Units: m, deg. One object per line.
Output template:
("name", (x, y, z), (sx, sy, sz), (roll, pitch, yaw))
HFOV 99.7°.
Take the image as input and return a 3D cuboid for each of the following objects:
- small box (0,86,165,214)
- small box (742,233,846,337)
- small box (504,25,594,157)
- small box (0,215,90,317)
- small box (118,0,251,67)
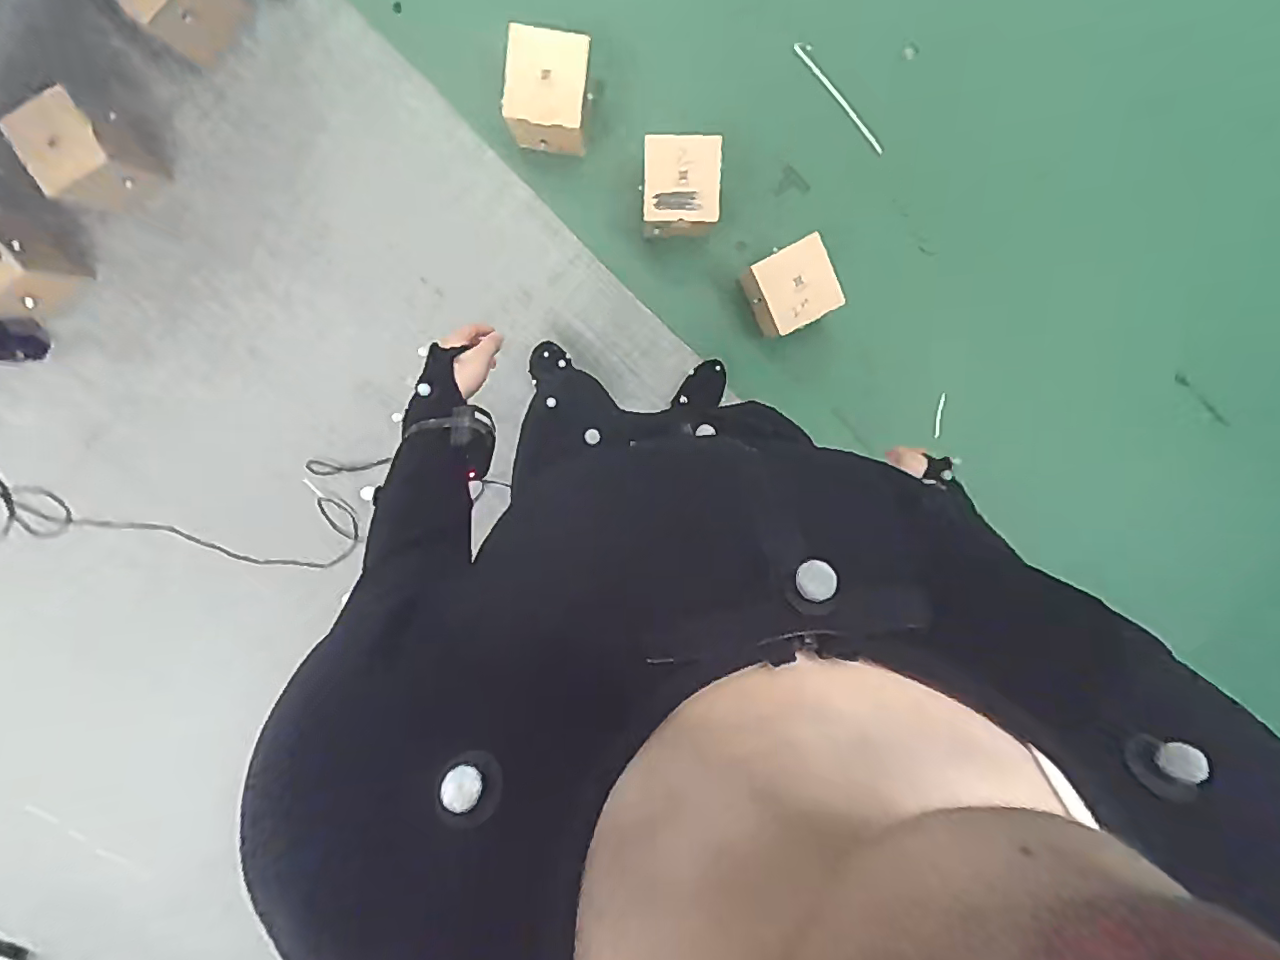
("small box", (-1.247, -0.738, 1.231), (0.179, 0.176, 0.168), (-25, 102, 7))
("small box", (0.360, -0.458, 1.301), (0.168, 0.176, 0.179), (-26, 102, 7))
("small box", (-0.196, -0.856, 1.205), (0.168, 0.176, 0.179), (8, 104, -2))
("small box", (-1.497, -0.504, 1.289), (0.179, 0.176, 0.168), (-33, 102, 8))
("small box", (-0.993, -1.047, 1.155), (0.179, 0.176, 0.168), (-40, 101, 8))
